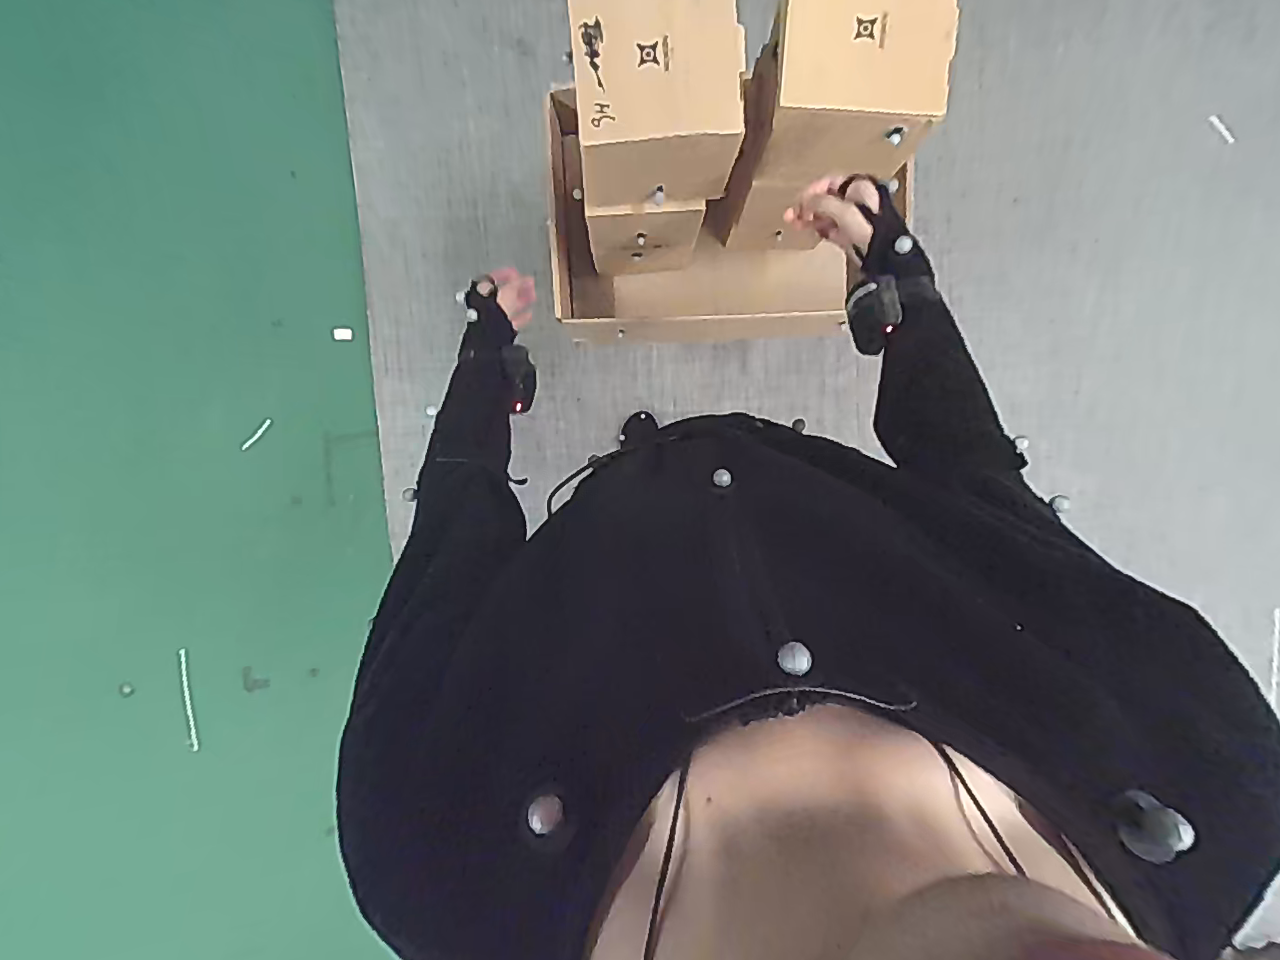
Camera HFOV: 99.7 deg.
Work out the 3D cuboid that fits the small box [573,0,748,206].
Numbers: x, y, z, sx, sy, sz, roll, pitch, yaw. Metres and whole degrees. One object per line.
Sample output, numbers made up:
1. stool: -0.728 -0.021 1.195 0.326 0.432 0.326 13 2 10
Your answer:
1. small box: 0.021 -0.441 0.635 0.179 0.176 0.168 -4 96 0
